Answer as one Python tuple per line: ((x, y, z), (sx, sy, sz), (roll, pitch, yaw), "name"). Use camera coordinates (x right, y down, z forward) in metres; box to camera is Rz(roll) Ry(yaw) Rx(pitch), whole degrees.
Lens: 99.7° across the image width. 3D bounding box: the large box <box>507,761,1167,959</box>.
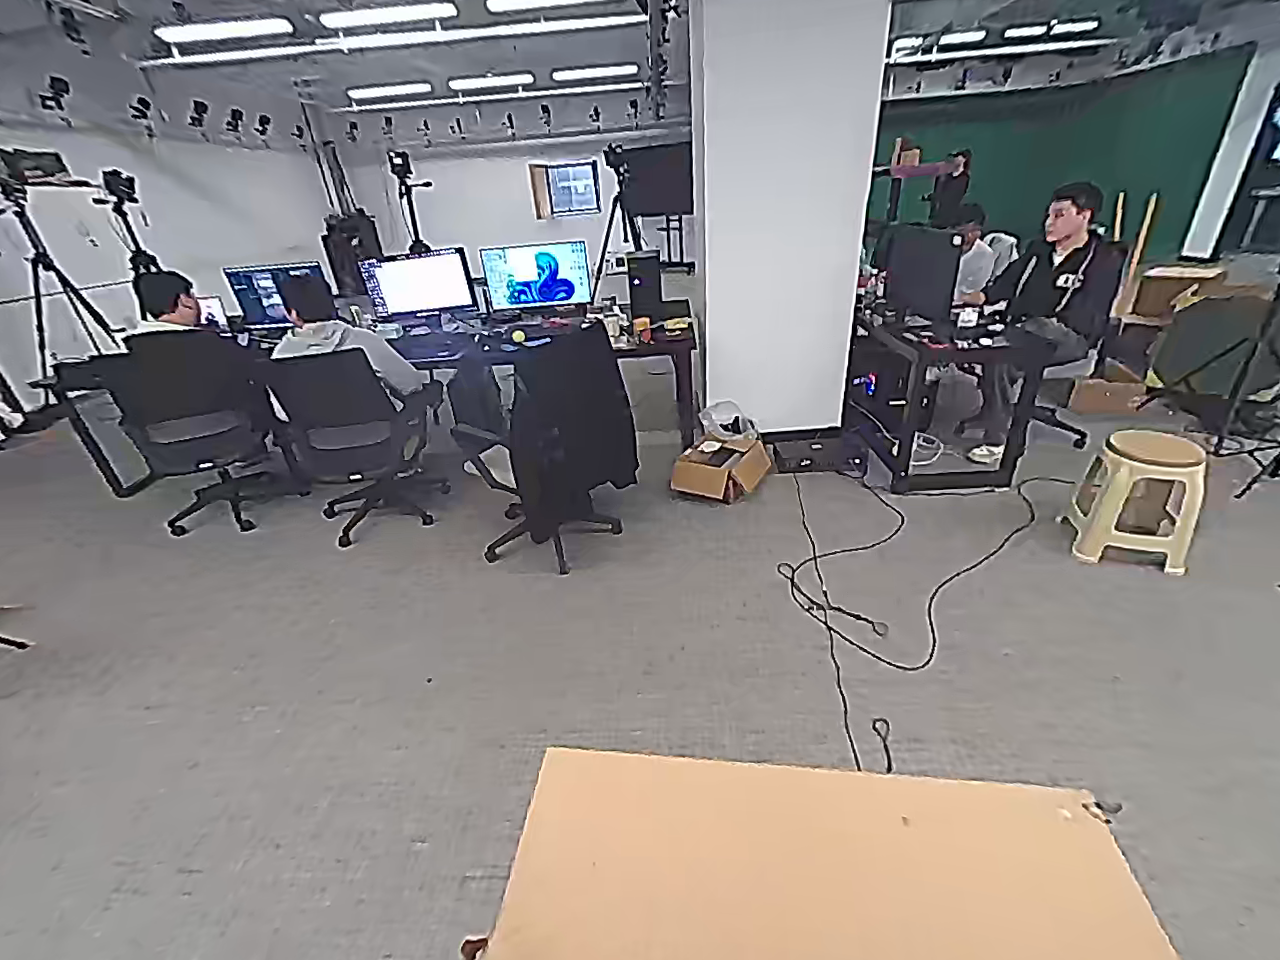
((0.118, 0.441, 0.384), (0.408, 0.320, 0.320), (0, 36, 8), "large box")
